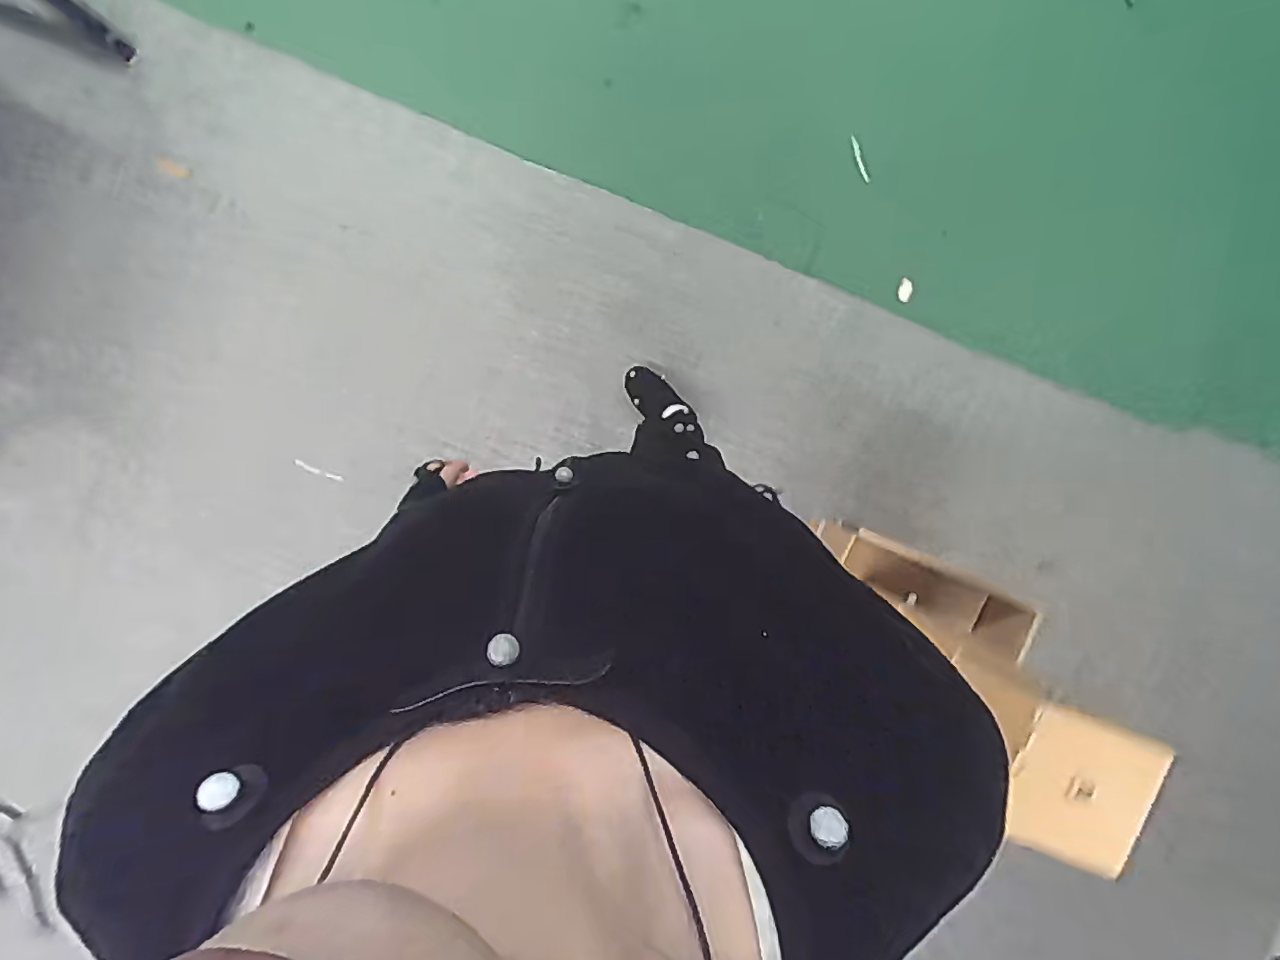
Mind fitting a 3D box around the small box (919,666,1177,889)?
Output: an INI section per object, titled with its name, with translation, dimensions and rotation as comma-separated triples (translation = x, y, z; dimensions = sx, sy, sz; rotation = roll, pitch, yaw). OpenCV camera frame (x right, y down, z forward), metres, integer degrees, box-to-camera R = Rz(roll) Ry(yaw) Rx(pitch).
[small box]
translation = 0.513, 0.370, 0.707
dimensions = 0.179, 0.176, 0.168
rotation = 22, 93, -2
